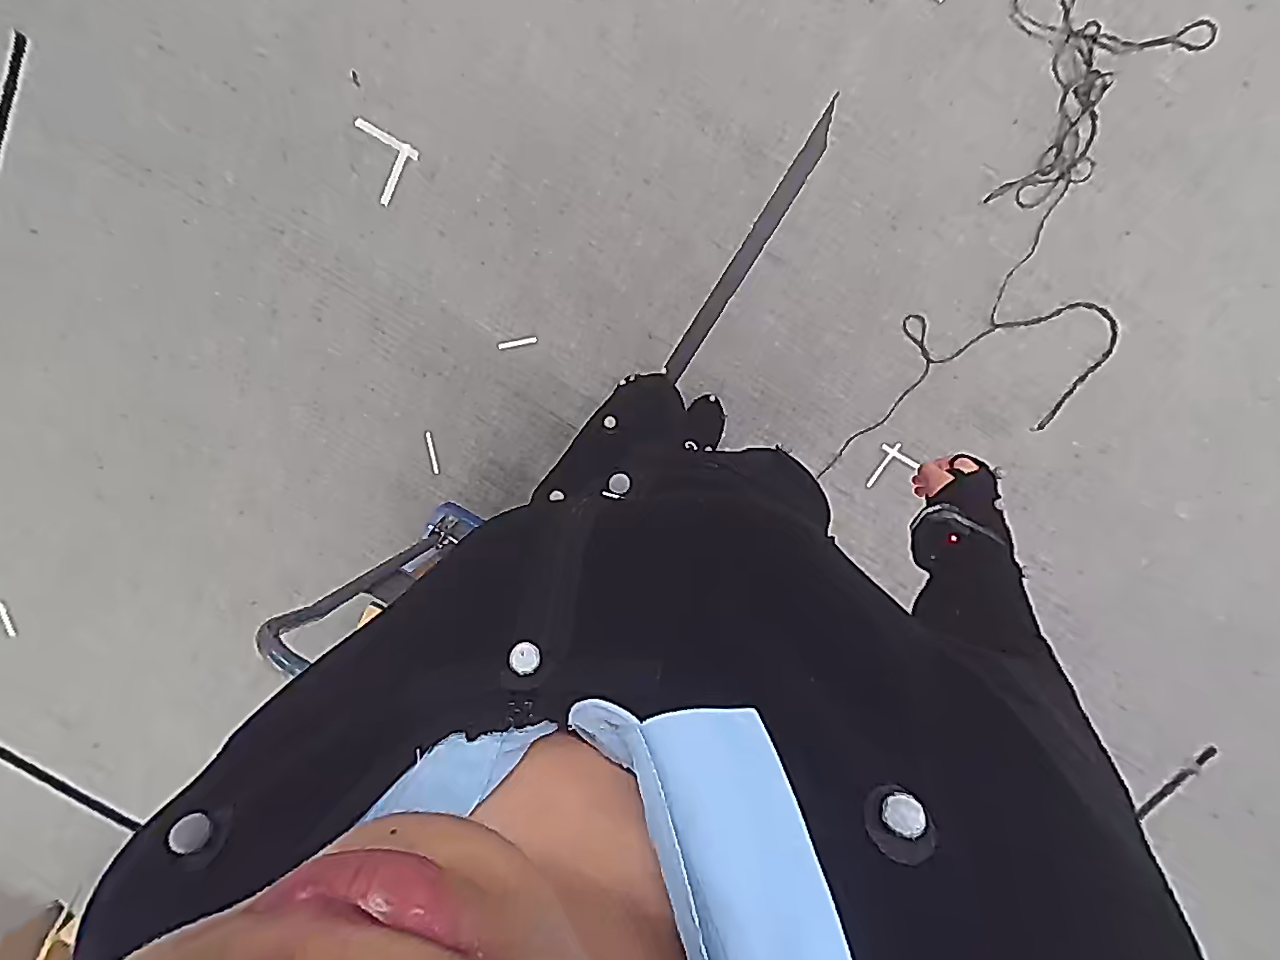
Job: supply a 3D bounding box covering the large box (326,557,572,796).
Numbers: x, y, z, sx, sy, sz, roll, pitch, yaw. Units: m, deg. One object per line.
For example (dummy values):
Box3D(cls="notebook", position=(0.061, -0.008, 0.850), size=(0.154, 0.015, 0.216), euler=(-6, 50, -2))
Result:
Box3D(cls="large box", position=(-0.425, 0.442, 1.287), size=(0.408, 0.320, 0.320), euler=(28, 101, -1))
